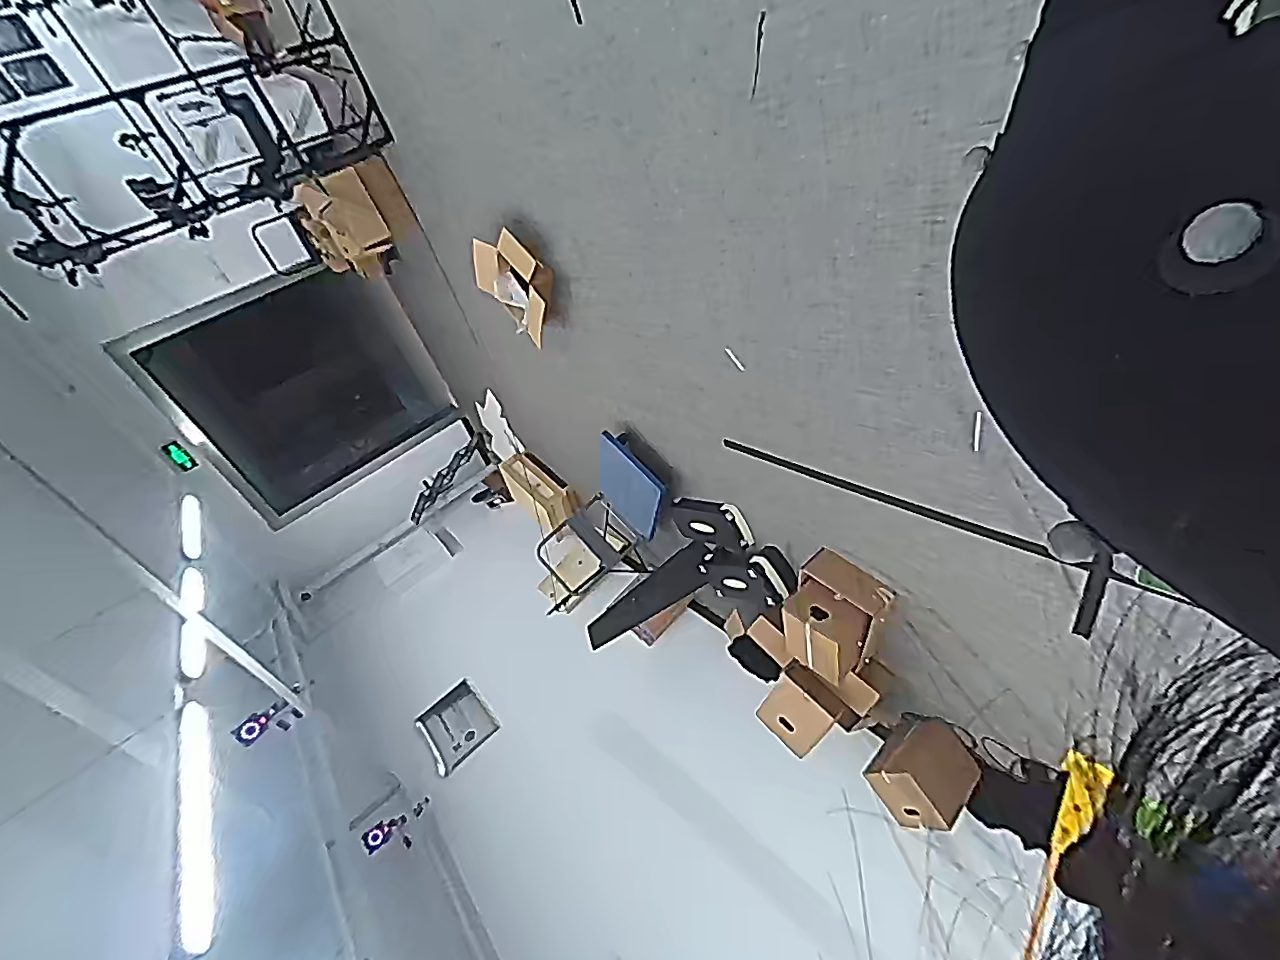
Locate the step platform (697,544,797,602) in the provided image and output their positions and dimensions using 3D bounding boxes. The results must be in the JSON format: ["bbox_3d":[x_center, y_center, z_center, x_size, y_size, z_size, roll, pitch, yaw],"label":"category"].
[{"bbox_3d":[0.629,0.564,3.311,0.286,0.204,0.684,55,156,-8],"label":"step platform"}]
